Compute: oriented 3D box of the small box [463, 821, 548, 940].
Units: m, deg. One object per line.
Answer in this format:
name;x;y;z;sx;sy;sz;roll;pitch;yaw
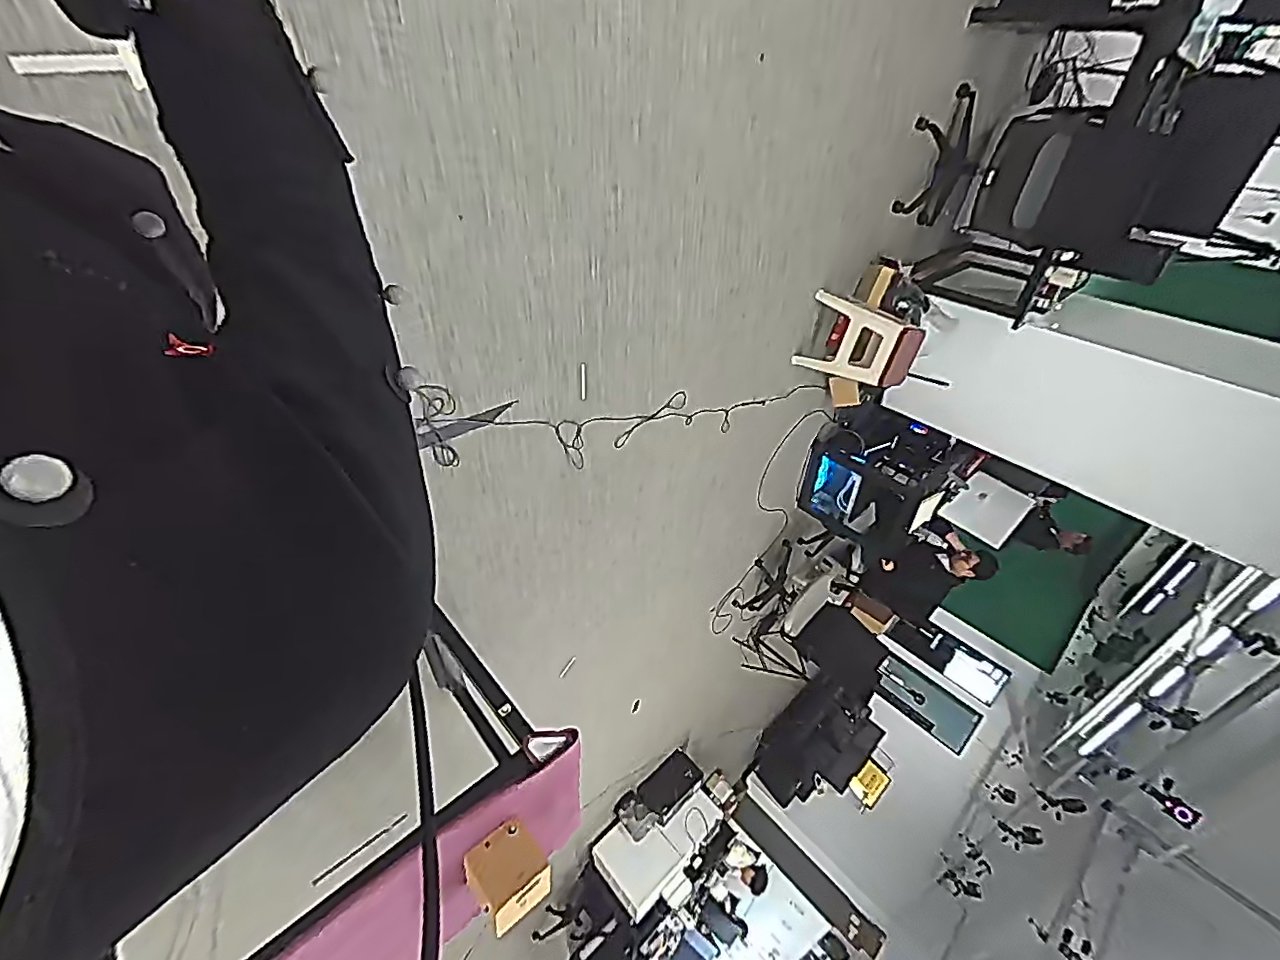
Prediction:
small box;-0.365;1.068;1.459;0.168;0.176;0.179;-22;134;-38
